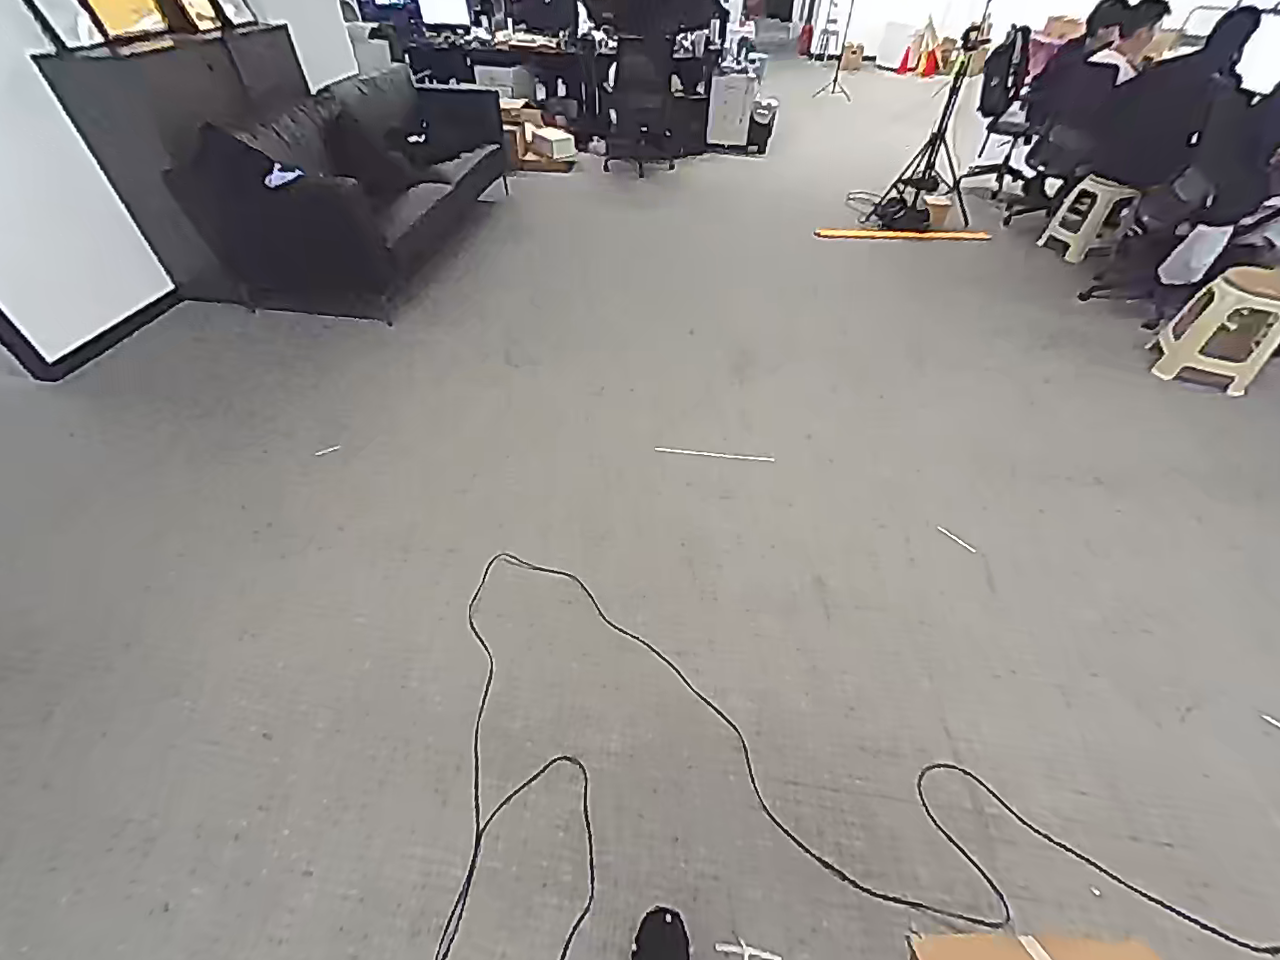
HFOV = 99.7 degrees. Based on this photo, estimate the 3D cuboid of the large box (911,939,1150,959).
[{"bbox_3d":[0.529,0.791,0.555,0.320,0.408,0.320,-2,85,6],"label":"large box"}]
